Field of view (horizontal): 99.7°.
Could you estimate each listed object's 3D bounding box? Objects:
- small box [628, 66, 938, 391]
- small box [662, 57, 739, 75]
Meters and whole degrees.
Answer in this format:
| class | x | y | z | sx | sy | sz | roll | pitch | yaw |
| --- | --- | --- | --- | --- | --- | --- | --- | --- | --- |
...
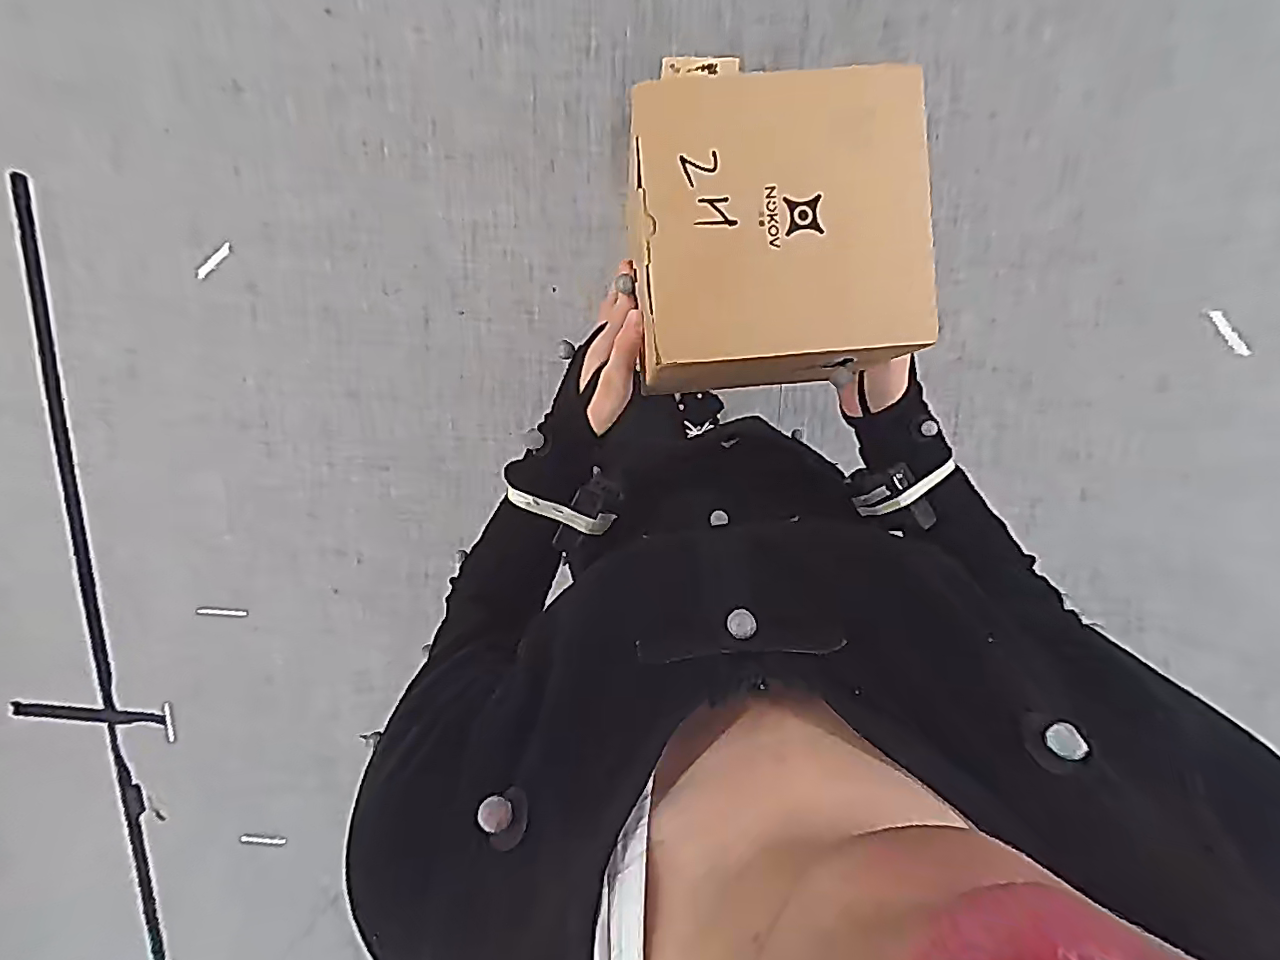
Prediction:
| class | x | y | z | sx | sy | sz | roll | pitch | yaw |
| --- | --- | --- | --- | --- | --- | --- | --- | --- | --- |
| small box | 0.086 | -0.161 | 0.399 | 0.179 | 0.176 | 0.168 | -5 | 93 | -2 |
| small box | 0.130 | -0.829 | 1.245 | 0.168 | 0.176 | 0.179 | 4 | 102 | 3 |
